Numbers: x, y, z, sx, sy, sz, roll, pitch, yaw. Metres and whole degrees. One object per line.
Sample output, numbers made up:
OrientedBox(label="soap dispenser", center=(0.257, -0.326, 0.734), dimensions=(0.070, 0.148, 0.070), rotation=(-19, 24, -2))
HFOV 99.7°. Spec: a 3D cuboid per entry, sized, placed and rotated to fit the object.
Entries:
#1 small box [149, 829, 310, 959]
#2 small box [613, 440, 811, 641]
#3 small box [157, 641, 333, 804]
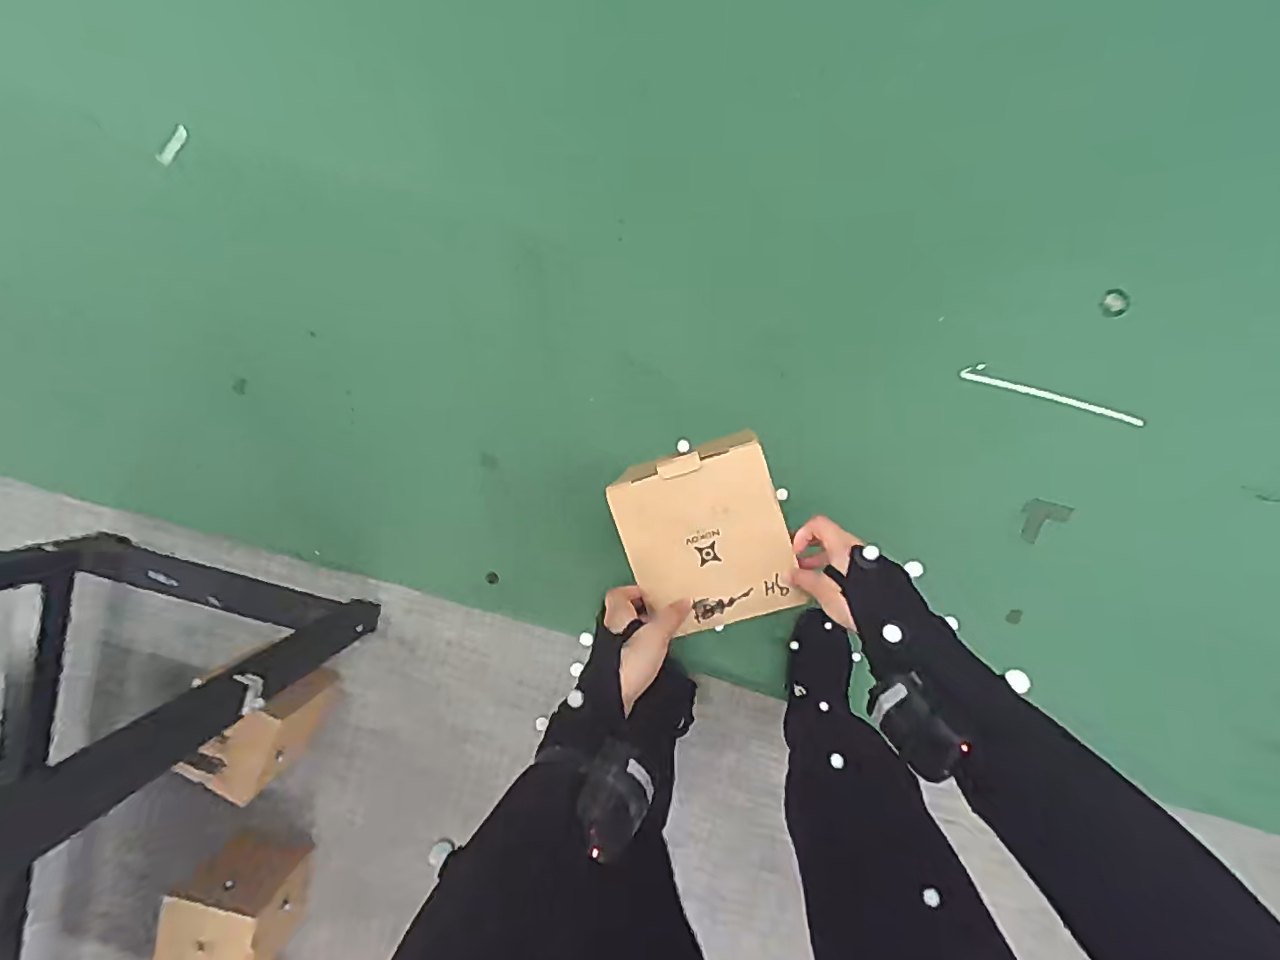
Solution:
OrientedBox(label="small box", center=(-0.769, 0.808, 1.028), dimensions=(0.179, 0.176, 0.168), rotation=(13, 96, 3))
OrientedBox(label="small box", center=(0.083, 0.057, 0.630), dimensions=(0.168, 0.176, 0.179), rotation=(-17, 96, 11))
OrientedBox(label="small box", center=(-0.702, 0.428, 0.982), dimensions=(0.168, 0.176, 0.179), rotation=(28, 95, 0))
